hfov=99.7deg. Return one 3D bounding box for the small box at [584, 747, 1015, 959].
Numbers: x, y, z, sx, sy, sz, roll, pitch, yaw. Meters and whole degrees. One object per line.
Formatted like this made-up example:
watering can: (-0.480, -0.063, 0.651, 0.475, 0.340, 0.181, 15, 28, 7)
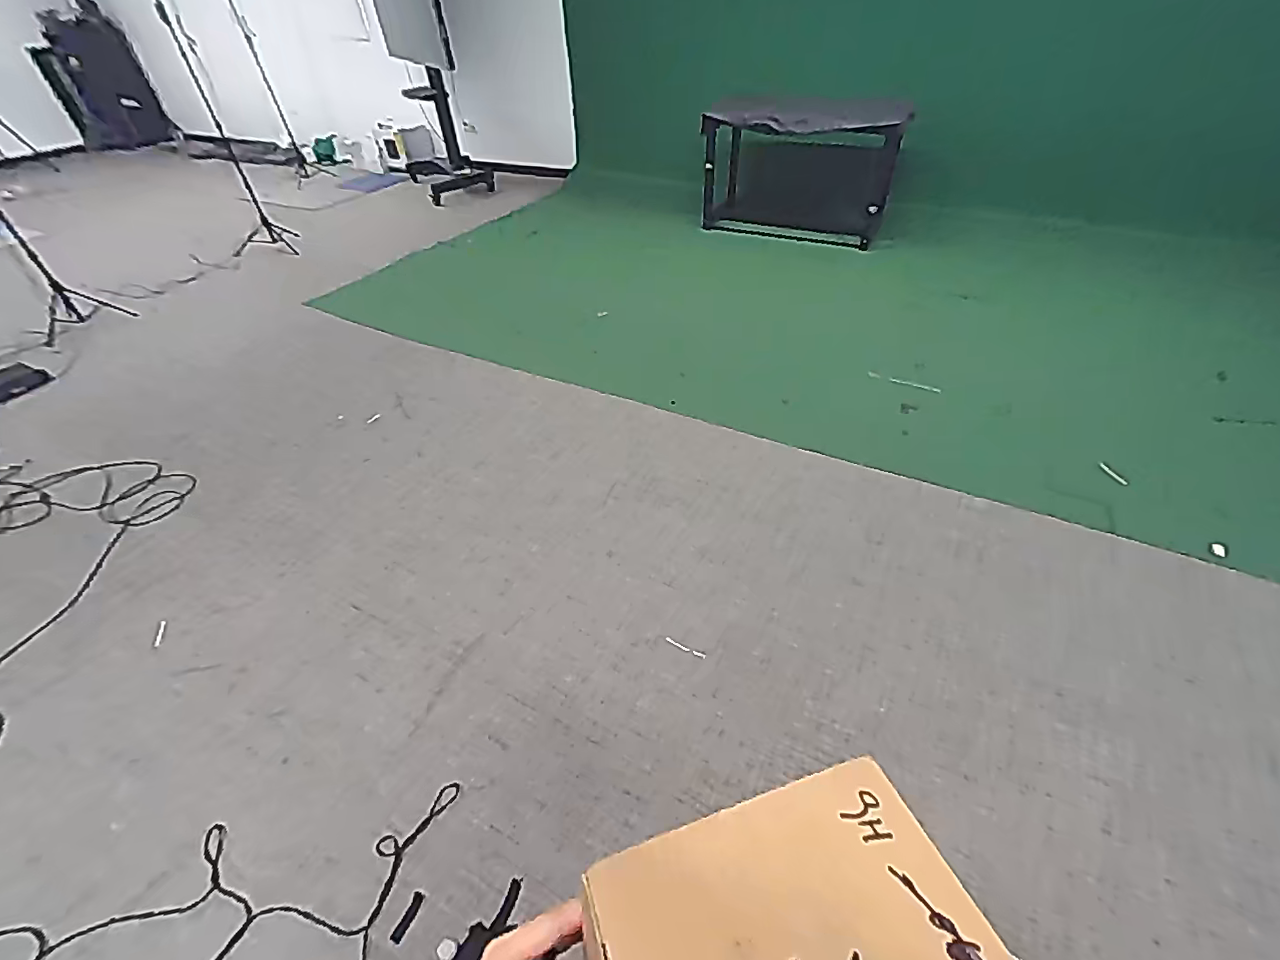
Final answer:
small box: (0.078, 0.284, 0.283, 0.179, 0.176, 0.168, -11, 39, -18)
